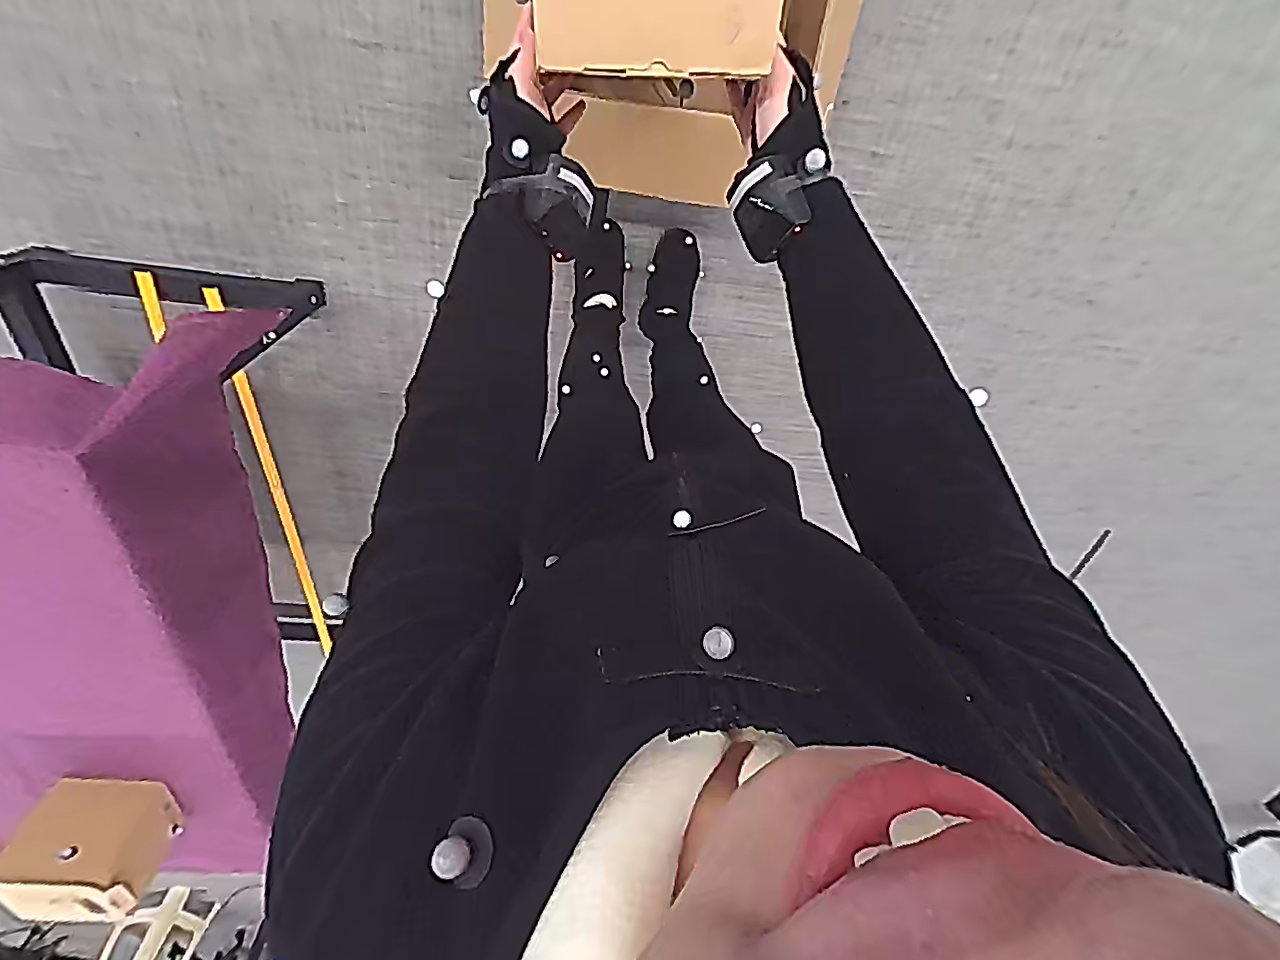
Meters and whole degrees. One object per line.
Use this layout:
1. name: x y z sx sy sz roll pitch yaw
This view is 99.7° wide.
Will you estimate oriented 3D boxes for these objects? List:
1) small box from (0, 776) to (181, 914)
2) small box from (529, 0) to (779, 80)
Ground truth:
1. small box: -0.997 0.669 0.995 0.179 0.176 0.168 8 124 -9
2. small box: 0.005 -0.398 0.380 0.168 0.176 0.179 -3 129 -7
